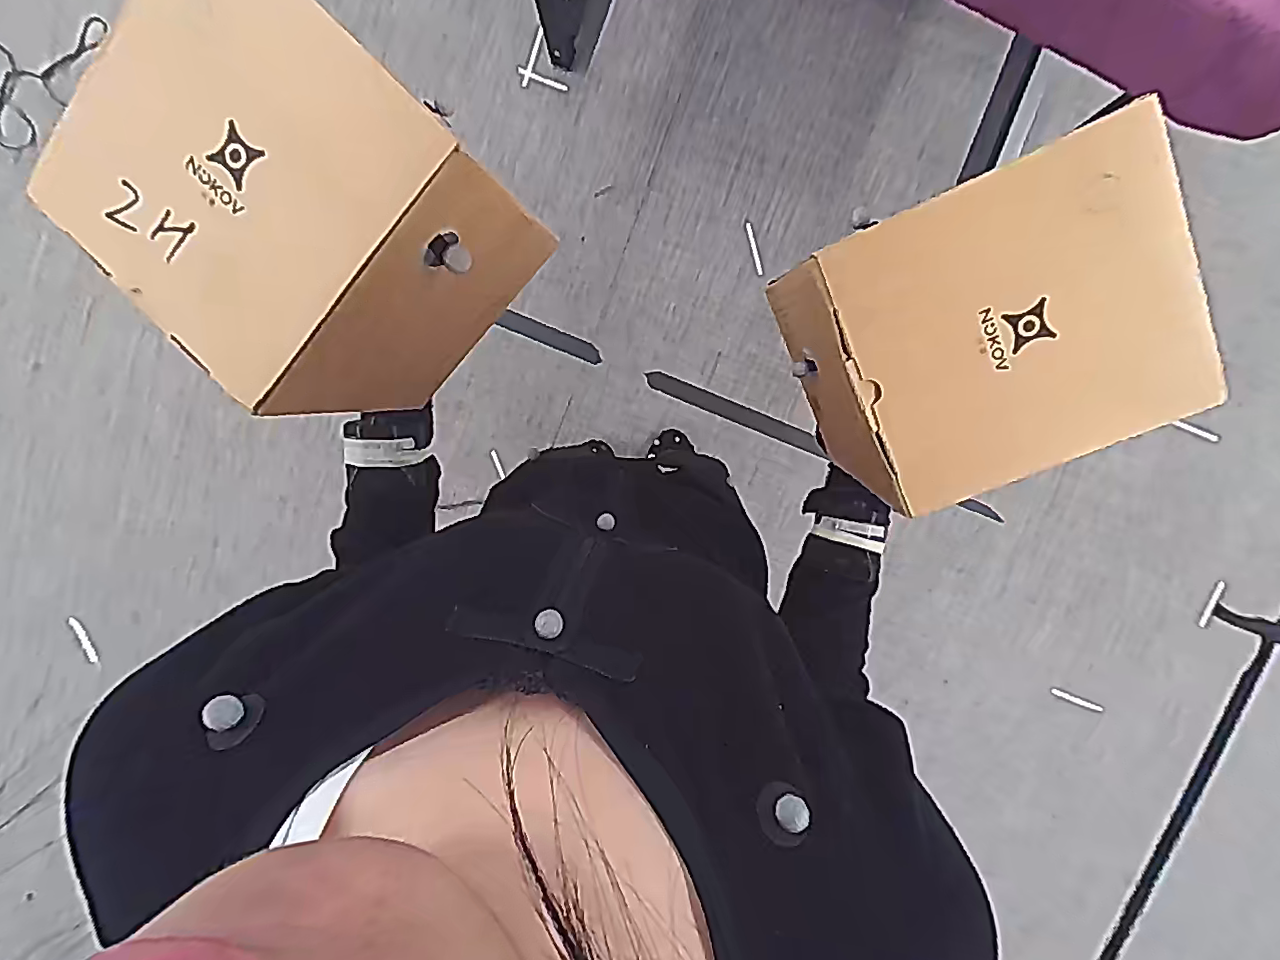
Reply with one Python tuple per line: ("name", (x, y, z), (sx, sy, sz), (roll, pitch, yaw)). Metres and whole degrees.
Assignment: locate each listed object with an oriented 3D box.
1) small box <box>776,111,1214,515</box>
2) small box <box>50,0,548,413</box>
("small box", (0.215, -0.103, 0.376), (0.179, 0.176, 0.168), (-23, 102, 10))
("small box", (-0.179, -0.163, 0.342), (0.168, 0.176, 0.179), (45, 102, 0))
